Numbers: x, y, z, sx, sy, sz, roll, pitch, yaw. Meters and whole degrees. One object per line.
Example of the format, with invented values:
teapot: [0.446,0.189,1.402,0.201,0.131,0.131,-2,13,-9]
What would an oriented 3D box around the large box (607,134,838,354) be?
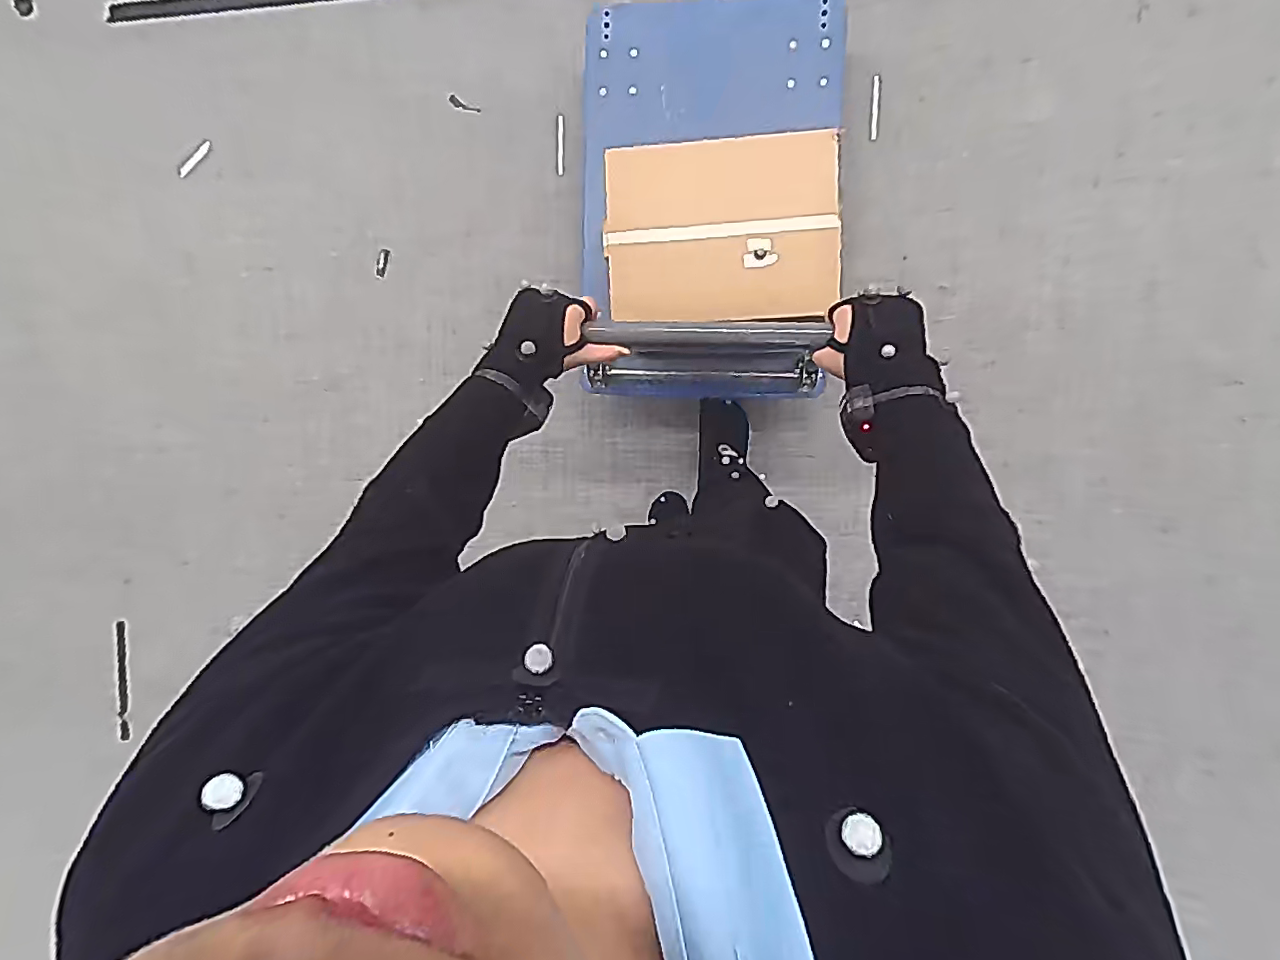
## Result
large box: [0.157,-0.448,1.109,0.408,0.320,0.320,-2,95,5]
